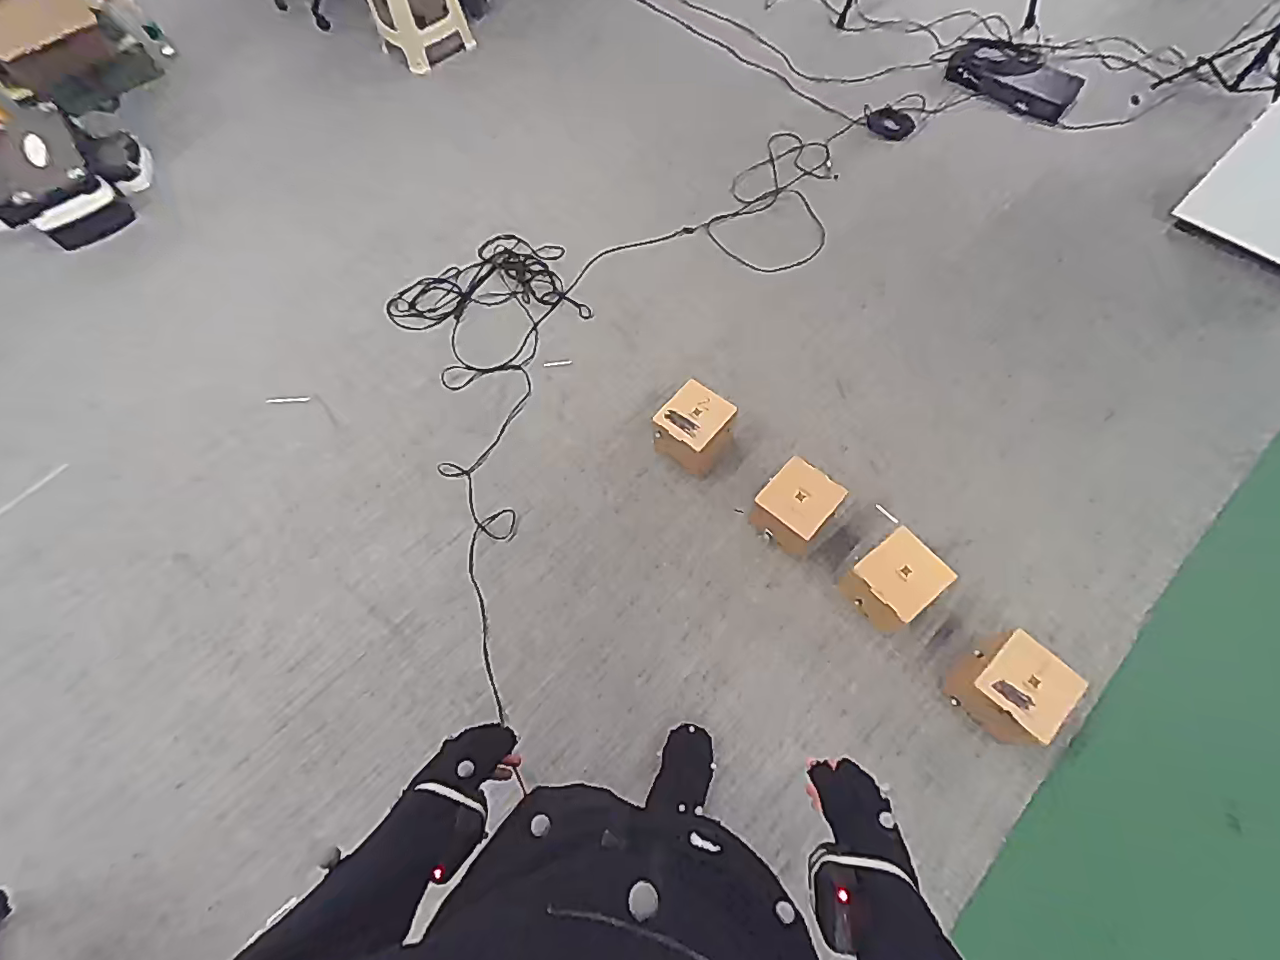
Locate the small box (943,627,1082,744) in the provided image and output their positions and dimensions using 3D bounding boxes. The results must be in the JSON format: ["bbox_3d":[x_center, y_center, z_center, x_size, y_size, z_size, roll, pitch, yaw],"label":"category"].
[{"bbox_3d":[0.817,0.463,1.211,0.179,0.176,0.168,-41,69,-15],"label":"small box"}]

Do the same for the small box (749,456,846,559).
[{"bbox_3d":[0.402,0.077,1.417,0.168,0.176,0.179,39,74,21],"label":"small box"}]

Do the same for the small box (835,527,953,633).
[{"bbox_3d":[0.609,0.250,1.324,0.179,0.176,0.168,-37,68,-12],"label":"small box"}]
